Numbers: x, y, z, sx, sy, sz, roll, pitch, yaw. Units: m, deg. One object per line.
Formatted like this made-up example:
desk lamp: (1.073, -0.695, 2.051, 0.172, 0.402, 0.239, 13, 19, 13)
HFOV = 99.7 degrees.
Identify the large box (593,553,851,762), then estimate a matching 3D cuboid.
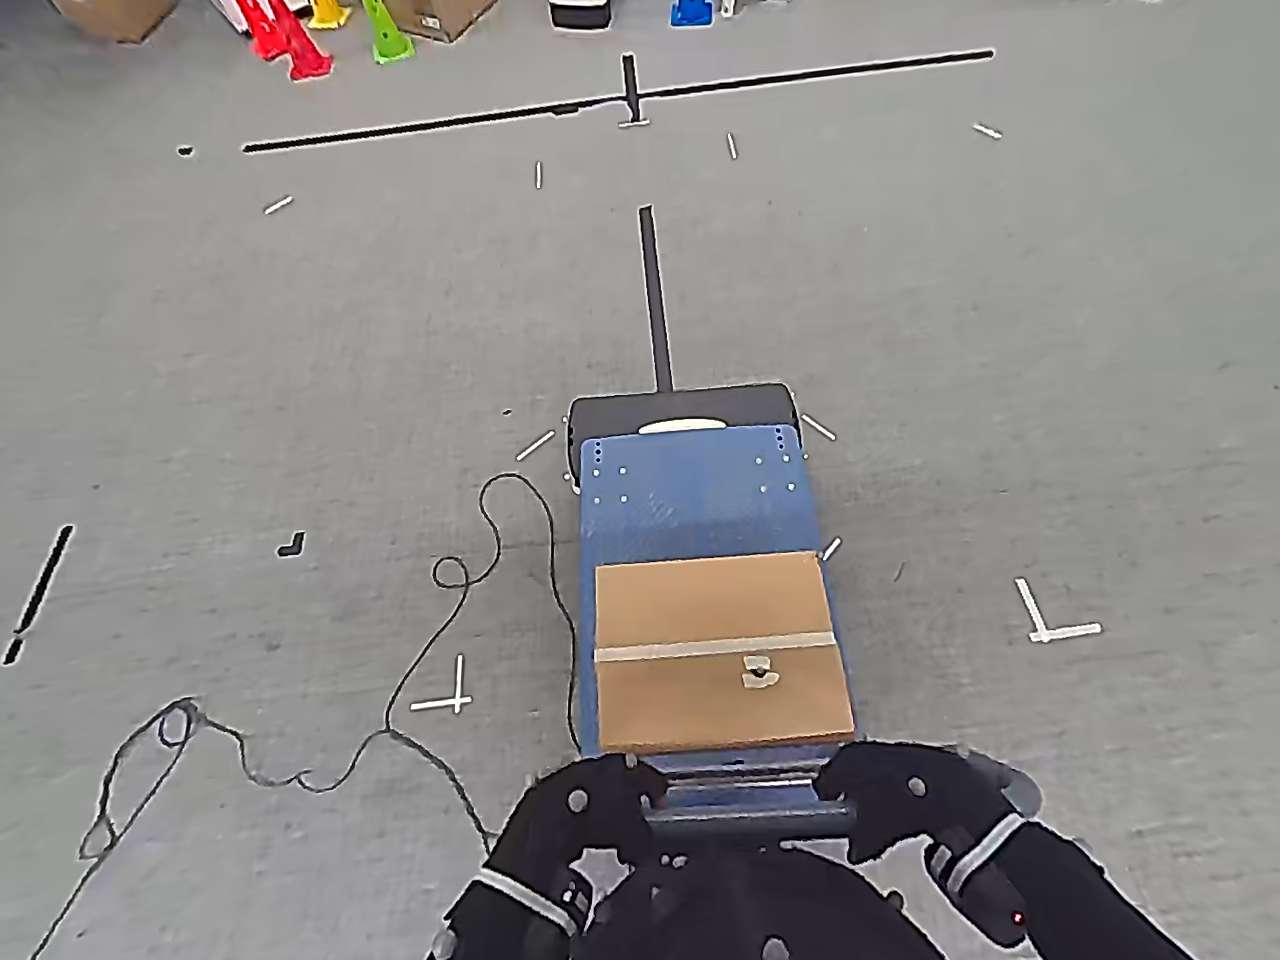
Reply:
large box: (0.129, 0.352, 1.042, 0.408, 0.320, 0.320, -4, 64, 1)
